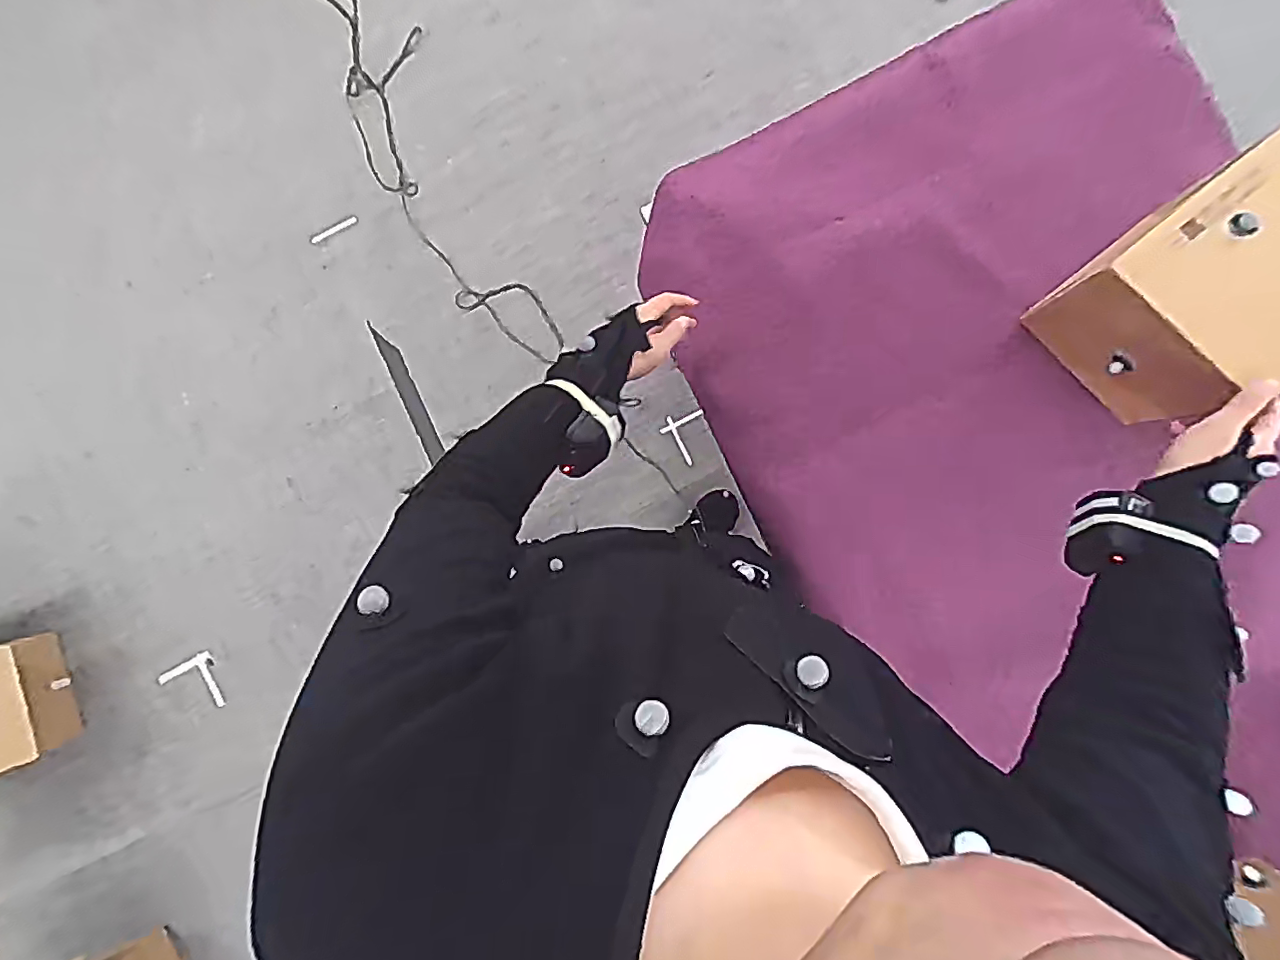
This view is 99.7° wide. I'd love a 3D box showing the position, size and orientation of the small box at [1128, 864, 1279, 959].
[{"bbox_3d":[0.650,0.527,0.537,0.168,0.176,0.179,-20,90,4],"label":"small box"}]
